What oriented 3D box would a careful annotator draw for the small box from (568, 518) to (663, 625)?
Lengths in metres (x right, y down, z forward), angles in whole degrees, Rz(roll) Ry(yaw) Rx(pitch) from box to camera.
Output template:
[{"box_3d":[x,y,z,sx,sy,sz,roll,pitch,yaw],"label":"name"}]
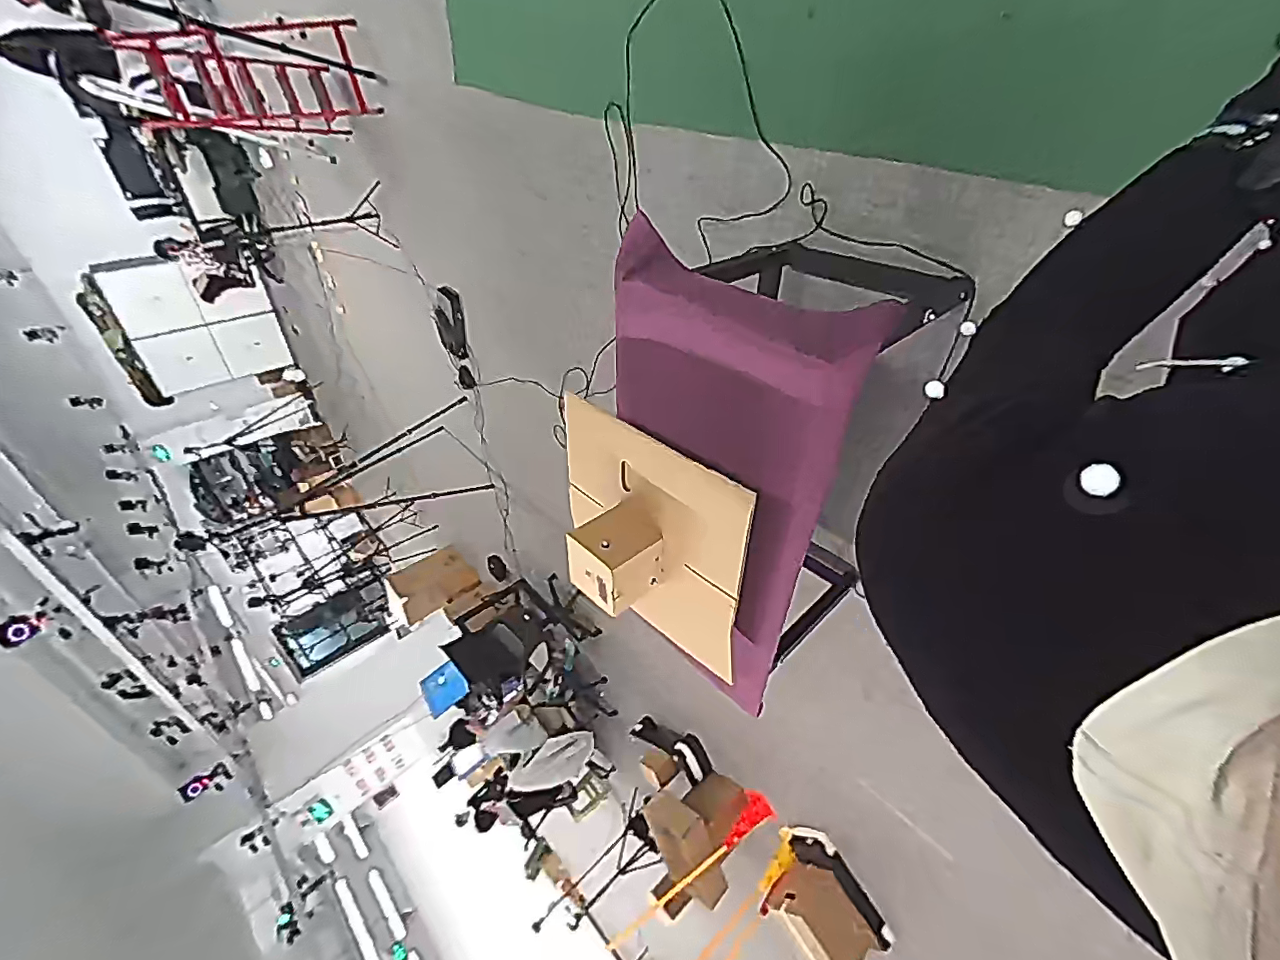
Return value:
[{"box_3d":[-0.058,0.220,1.359,0.179,0.176,0.168,32,135,37],"label":"small box"}]
